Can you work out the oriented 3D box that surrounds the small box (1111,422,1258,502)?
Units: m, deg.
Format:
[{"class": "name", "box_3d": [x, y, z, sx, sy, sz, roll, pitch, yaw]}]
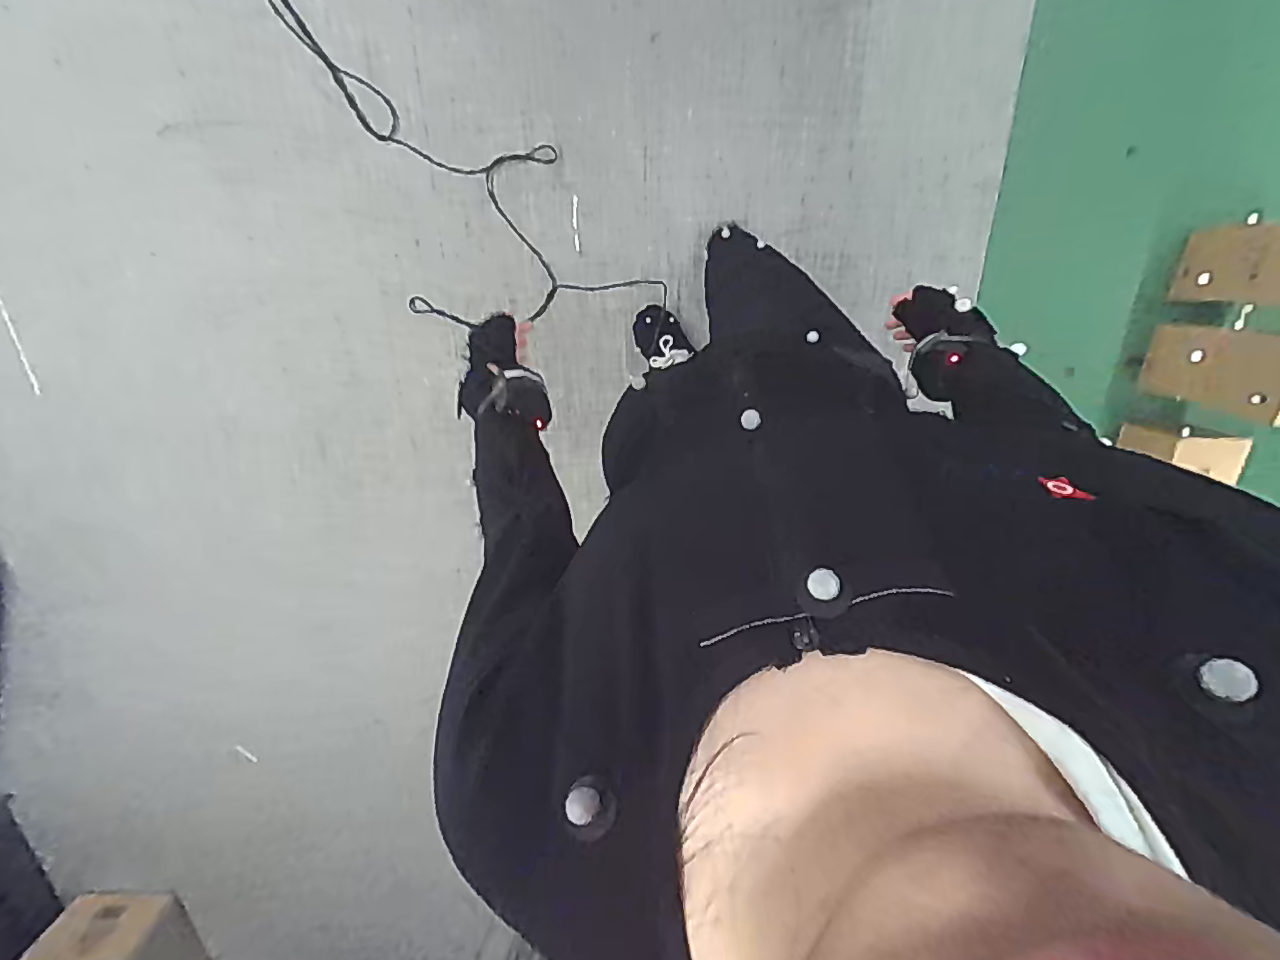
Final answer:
[{"class": "small box", "box_3d": [1.379, -0.051, 1.383, 0.179, 0.176, 0.168, 0, 110, 3]}]
